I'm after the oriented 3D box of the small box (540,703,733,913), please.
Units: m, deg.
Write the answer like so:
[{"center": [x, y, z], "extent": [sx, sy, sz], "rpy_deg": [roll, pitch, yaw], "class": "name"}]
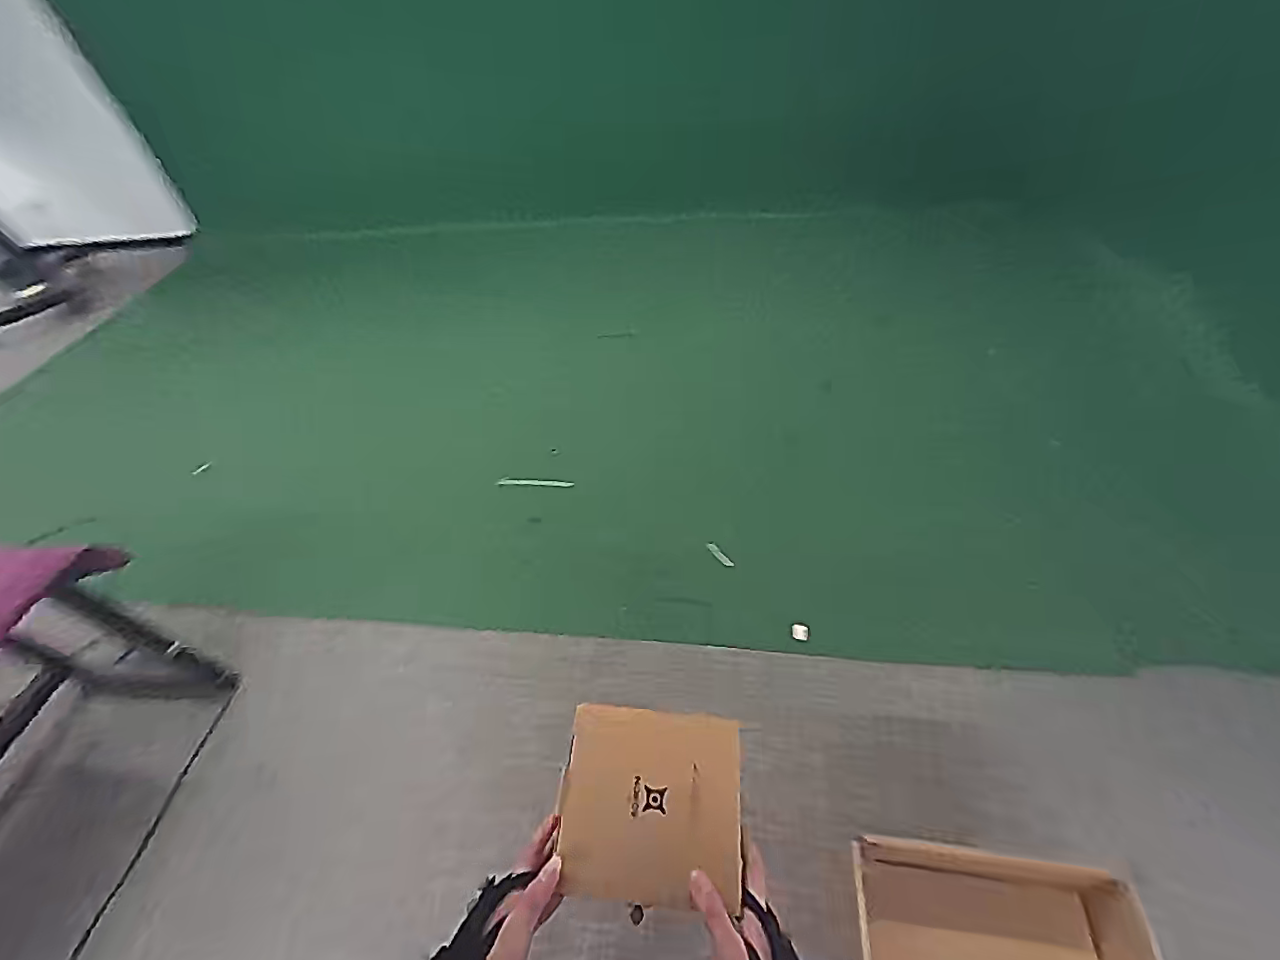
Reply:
[{"center": [0.003, 0.357, 0.589], "extent": [0.179, 0.176, 0.168], "rpy_deg": [4, 54, 2], "class": "small box"}]
